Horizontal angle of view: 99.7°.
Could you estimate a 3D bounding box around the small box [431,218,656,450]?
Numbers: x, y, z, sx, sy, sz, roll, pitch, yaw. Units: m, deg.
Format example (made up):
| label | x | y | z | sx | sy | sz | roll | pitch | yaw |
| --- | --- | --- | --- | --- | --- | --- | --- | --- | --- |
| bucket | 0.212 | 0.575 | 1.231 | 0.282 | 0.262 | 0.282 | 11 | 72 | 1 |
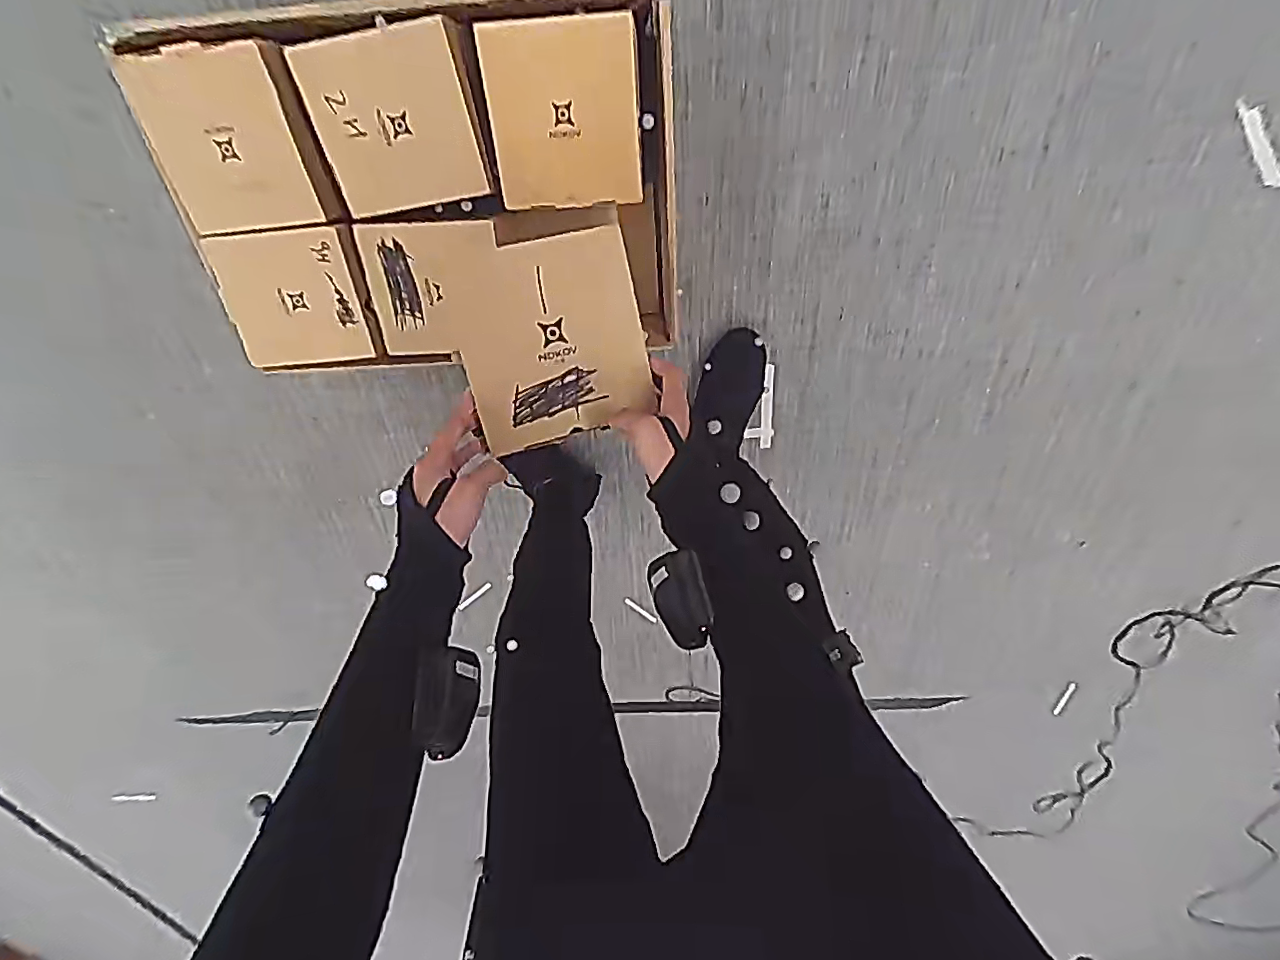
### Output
| label | x | y | z | sx | sy | sz | roll | pitch | yaw |
| --- | --- | --- | --- | --- | --- | --- | --- | --- | --- |
| small box | -0.095 | -0.146 | 0.556 | 0.168 | 0.176 | 0.179 | -16 | 106 | -9 |
